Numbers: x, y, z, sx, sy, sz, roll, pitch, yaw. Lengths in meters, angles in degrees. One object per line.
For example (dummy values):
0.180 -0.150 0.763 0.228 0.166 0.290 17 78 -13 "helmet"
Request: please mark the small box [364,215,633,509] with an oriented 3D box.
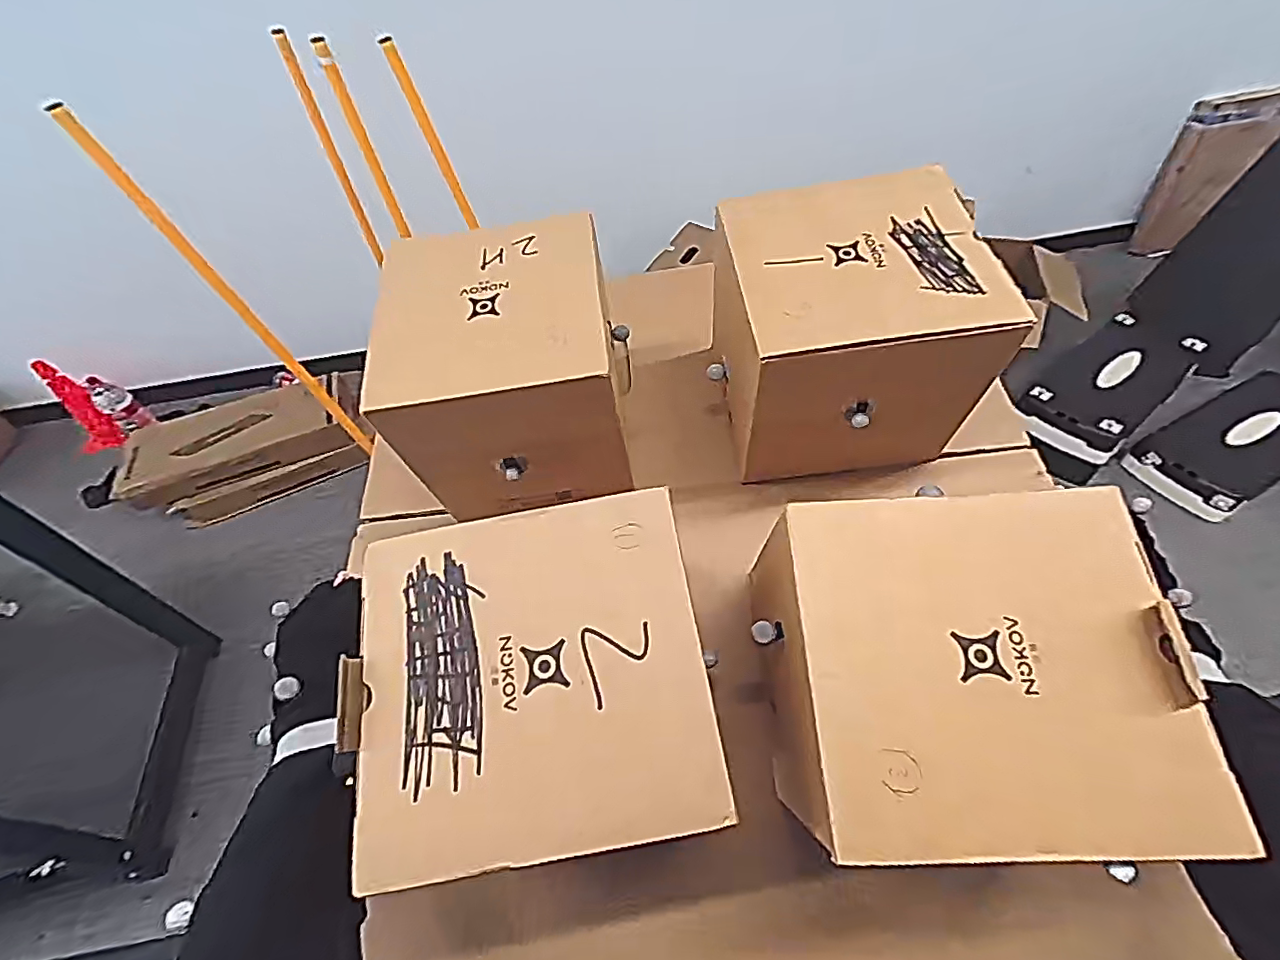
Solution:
-0.101 -0.086 0.461 0.168 0.176 0.179 -8 59 2 "small box"
